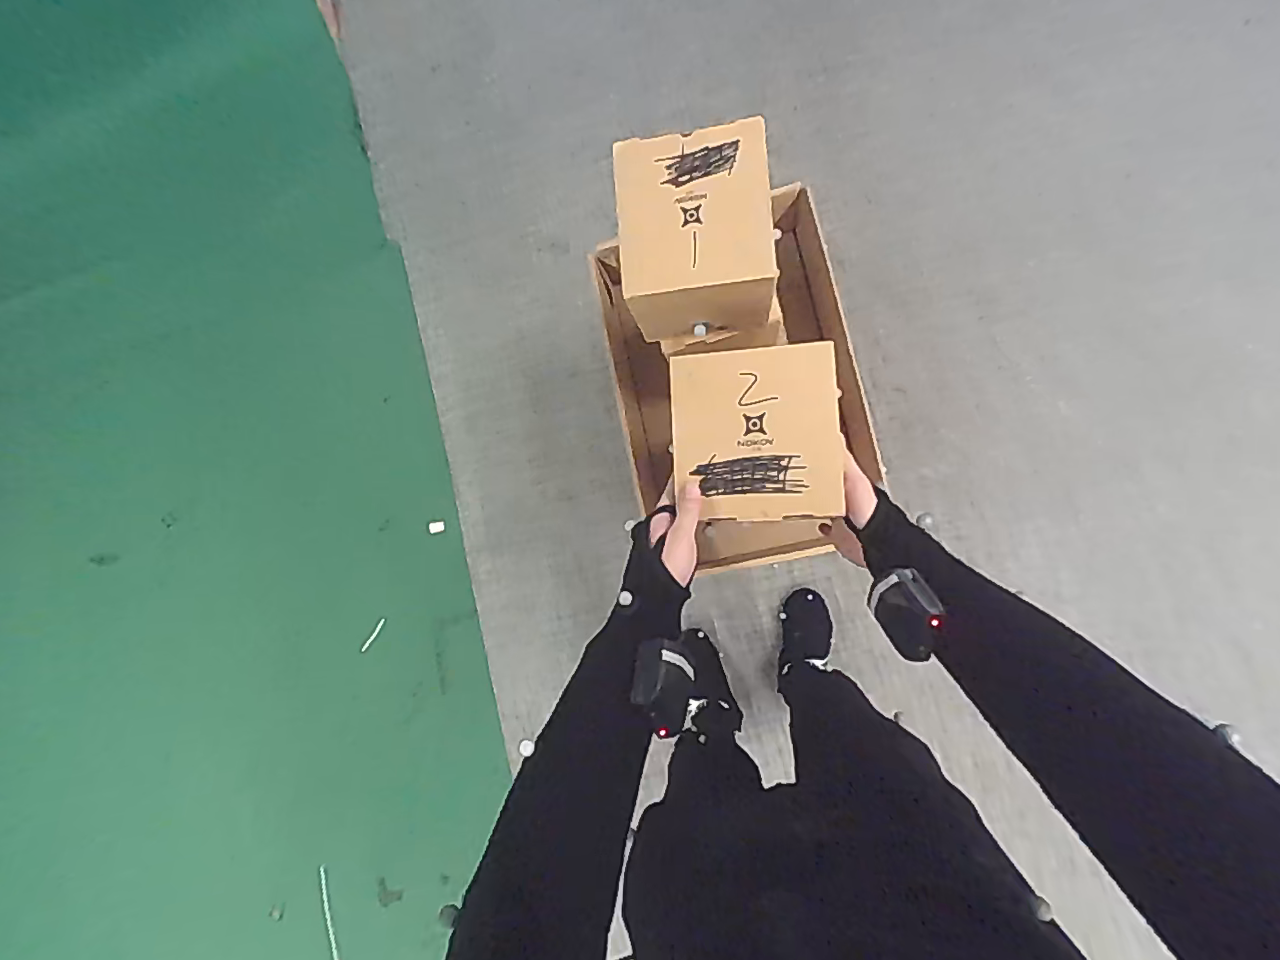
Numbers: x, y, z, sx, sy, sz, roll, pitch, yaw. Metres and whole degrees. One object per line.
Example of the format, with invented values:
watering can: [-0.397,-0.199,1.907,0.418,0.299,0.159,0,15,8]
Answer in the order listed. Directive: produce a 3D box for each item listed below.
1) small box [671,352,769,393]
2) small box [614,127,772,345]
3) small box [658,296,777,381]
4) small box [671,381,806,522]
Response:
small box: [0.129,-0.262,0.980,0.168,0.176,0.179,-14,85,10]
small box: [0.067,-0.281,0.661,0.168,0.176,0.179,-4,87,10]
small box: [0.101,-0.269,0.821,0.168,0.176,0.179,-14,85,9]
small box: [0.142,-0.031,0.790,0.168,0.176,0.179,-6,83,9]
